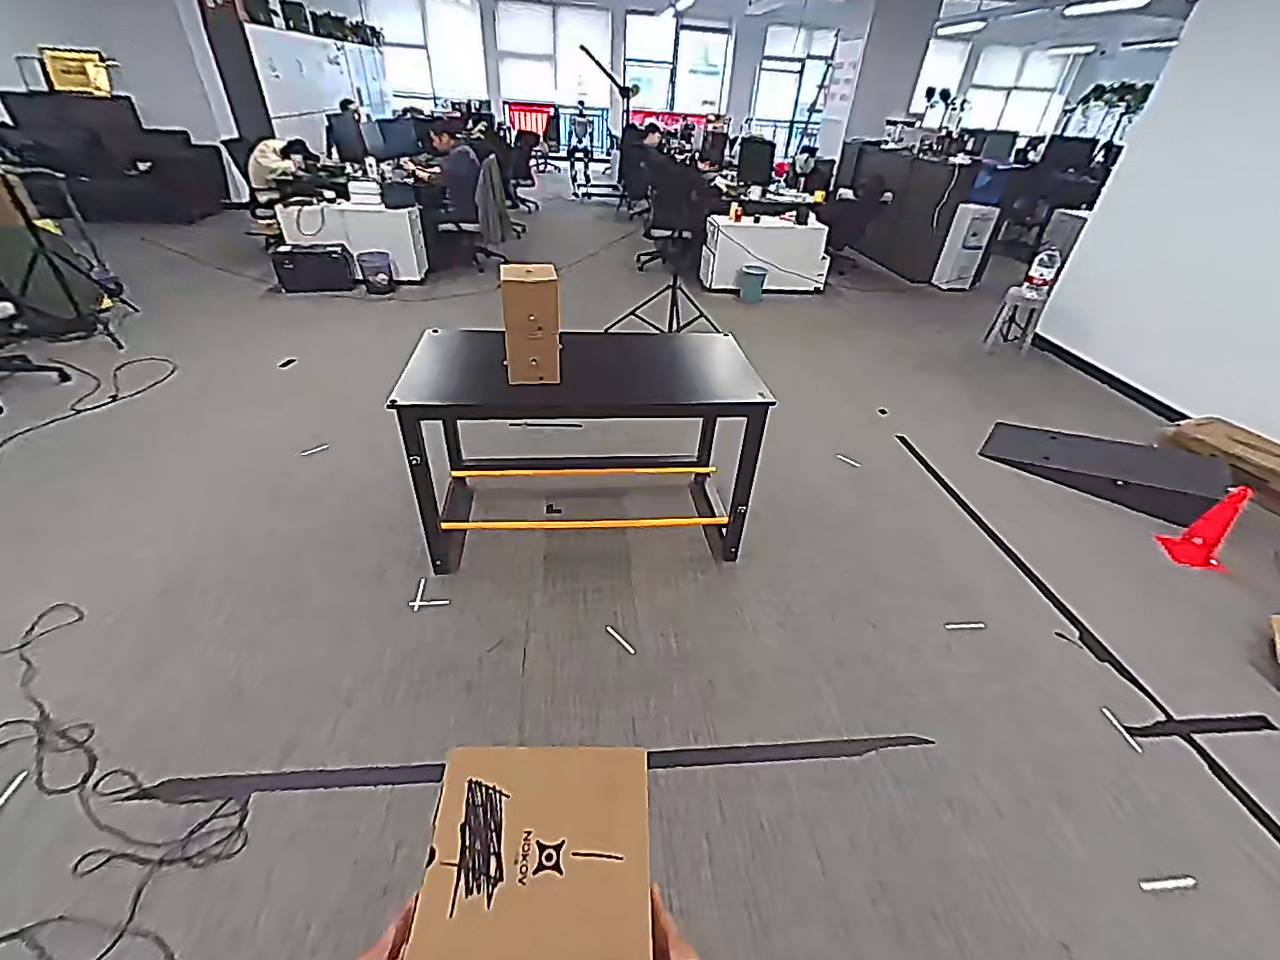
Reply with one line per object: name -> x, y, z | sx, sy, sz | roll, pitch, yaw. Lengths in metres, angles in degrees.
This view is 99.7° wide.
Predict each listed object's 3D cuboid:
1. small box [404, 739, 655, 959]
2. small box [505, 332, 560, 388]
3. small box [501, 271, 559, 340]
small box -> -0.081, 0.349, 0.479 | 0.179, 0.176, 0.168 | 2, 41, -3
small box -> -0.356, -0.415, 1.799 | 0.168, 0.176, 0.179 | -4, 37, -10
small box -> -0.348, -0.553, 1.706 | 0.168, 0.176, 0.179 | -5, 36, -11
